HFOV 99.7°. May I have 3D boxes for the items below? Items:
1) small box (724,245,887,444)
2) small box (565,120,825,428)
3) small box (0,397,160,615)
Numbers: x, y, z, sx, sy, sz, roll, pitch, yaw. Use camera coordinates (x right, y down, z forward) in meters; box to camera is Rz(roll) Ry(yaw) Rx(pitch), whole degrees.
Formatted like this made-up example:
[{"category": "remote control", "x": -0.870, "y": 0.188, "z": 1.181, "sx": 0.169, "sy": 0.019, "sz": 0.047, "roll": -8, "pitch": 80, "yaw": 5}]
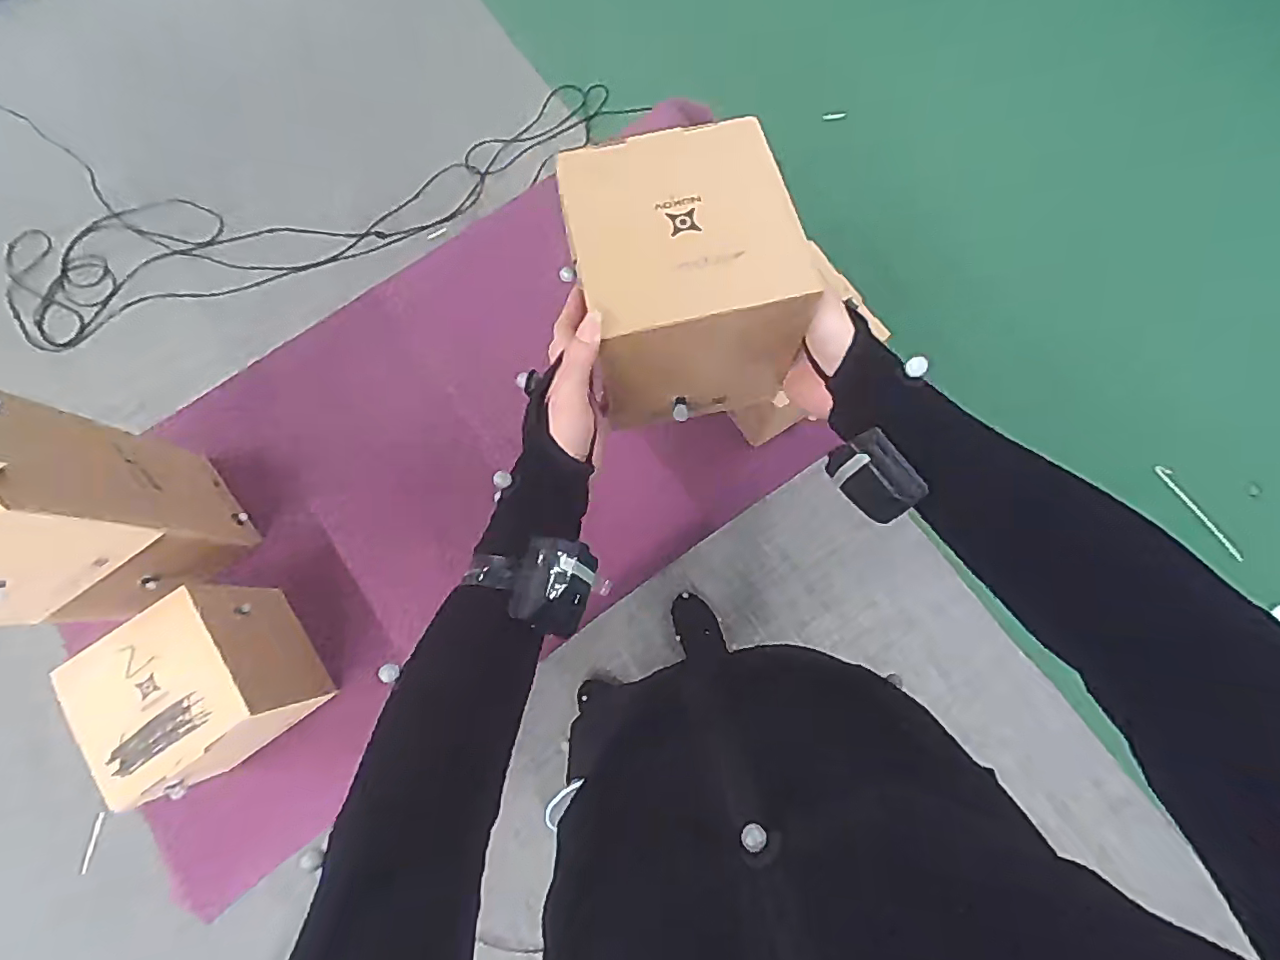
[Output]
[{"category": "small box", "x": 0.193, "y": -0.177, "z": 0.750, "sx": 0.179, "sy": 0.176, "sz": 0.168, "roll": -32, "pitch": 78, "yaw": -6}, {"category": "small box", "x": 0.036, "y": -0.168, "z": 0.478, "sx": 0.168, "sy": 0.176, "sz": 0.179, "roll": -12, "pitch": 73, "yaw": -2}, {"category": "small box", "x": -0.659, "y": 0.025, "z": 0.550, "sx": 0.168, "sy": 0.176, "sz": 0.179, "roll": -38, "pitch": 79, "yaw": -7}]
